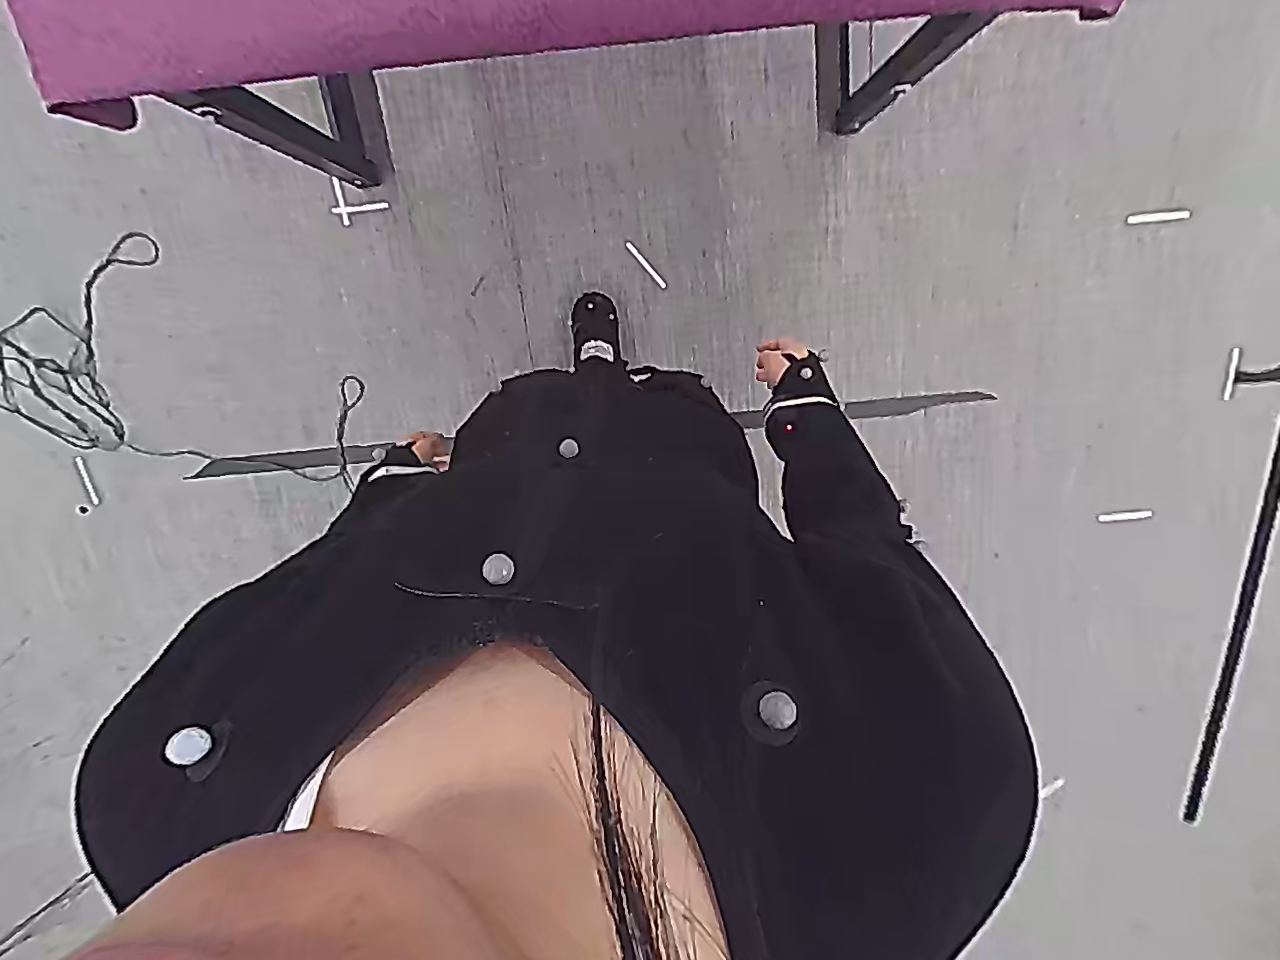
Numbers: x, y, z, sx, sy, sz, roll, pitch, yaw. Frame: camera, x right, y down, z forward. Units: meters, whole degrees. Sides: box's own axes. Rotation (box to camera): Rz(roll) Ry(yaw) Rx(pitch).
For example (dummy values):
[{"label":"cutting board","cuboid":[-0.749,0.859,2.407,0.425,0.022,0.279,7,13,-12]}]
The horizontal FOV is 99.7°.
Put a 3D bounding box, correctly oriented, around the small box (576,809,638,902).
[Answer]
[{"label":"small box","cuboid":[-0.106,1.244,1.798,0.168,0.176,0.179,-16,106,2]}]
